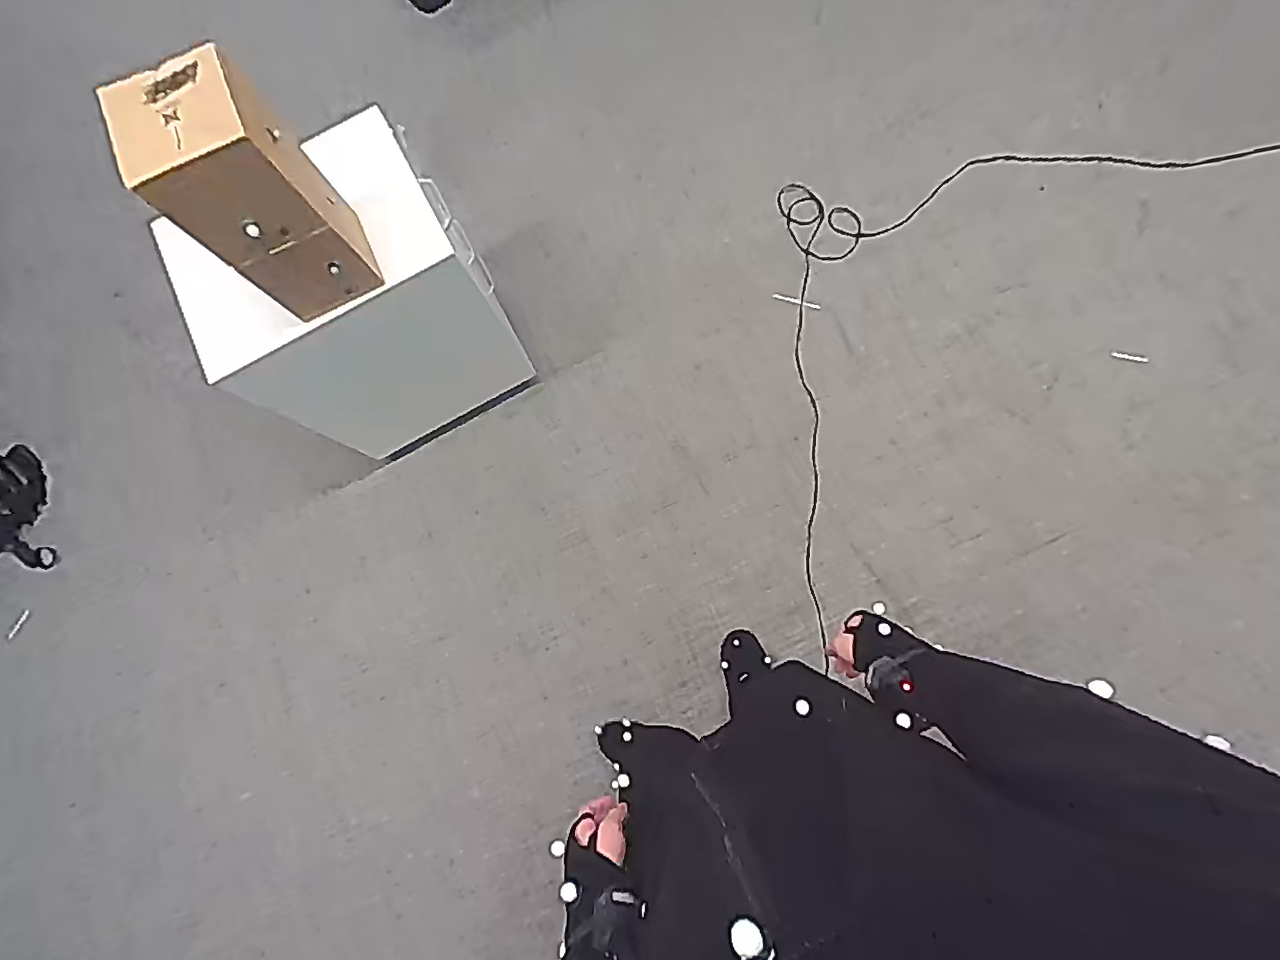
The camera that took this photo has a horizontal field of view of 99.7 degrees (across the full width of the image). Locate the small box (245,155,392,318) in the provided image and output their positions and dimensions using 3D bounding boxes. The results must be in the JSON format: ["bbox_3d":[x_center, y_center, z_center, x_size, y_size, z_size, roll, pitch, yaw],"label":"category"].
[{"bbox_3d":[-0.568,-0.411,0.947,0.168,0.176,0.179,-26,74,-2],"label":"small box"}]

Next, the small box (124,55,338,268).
[{"bbox_3d":[-0.582,-0.452,0.788,0.168,0.176,0.179,-25,76,-1],"label":"small box"}]
